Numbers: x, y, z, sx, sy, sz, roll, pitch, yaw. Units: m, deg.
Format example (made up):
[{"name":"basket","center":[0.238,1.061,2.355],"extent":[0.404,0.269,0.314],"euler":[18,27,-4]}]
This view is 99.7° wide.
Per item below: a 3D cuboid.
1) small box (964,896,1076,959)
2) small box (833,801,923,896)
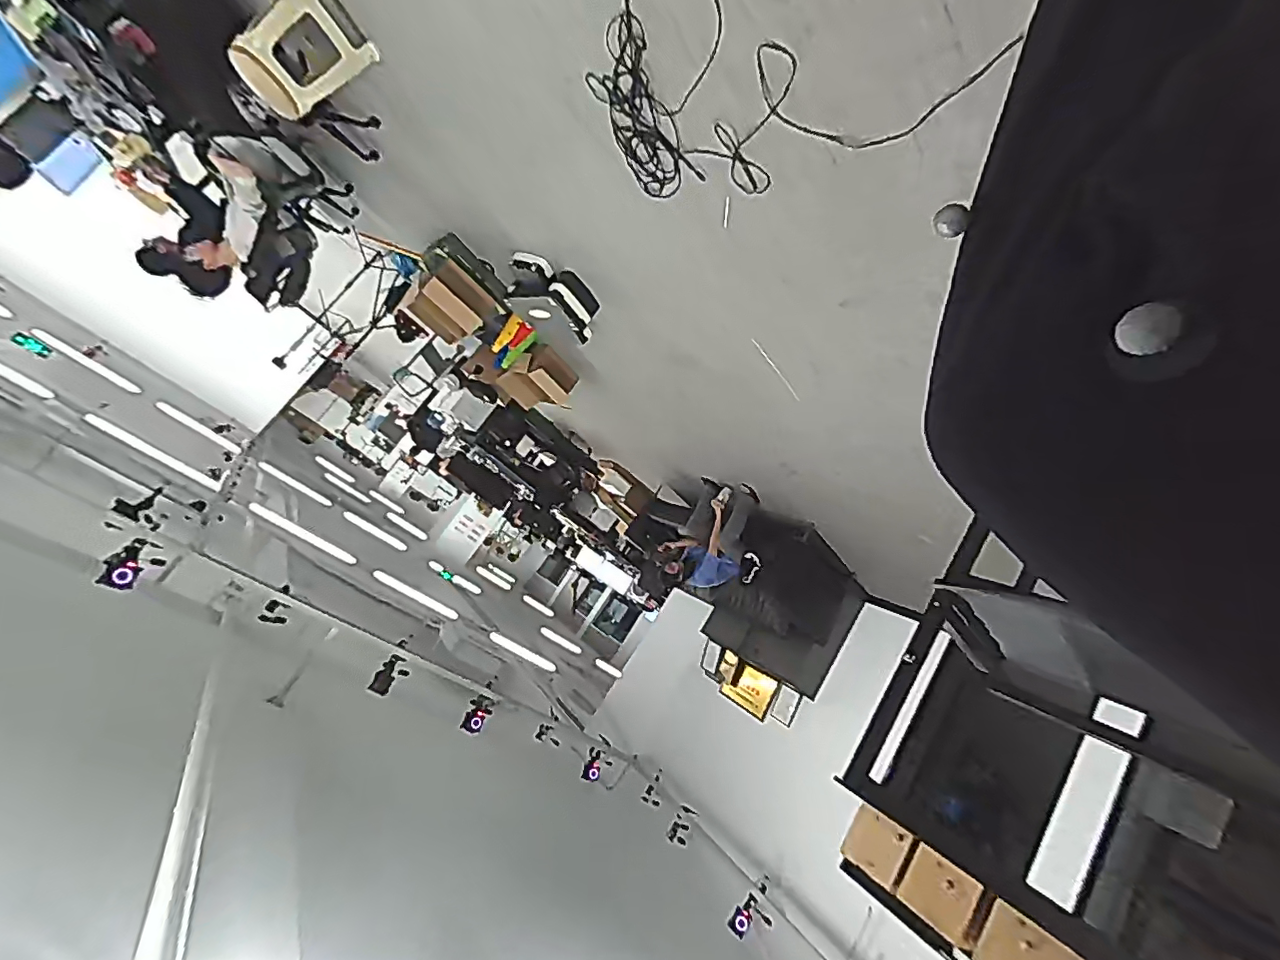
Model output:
[{"name":"small box","center":[0.940,1.175,1.332],"extent":[0.179,0.176,0.168],"euler":[43,165,-34]},{"name":"small box","center":[0.725,1.113,1.642],"extent":[0.179,0.176,0.168],"euler":[43,165,-35]}]
